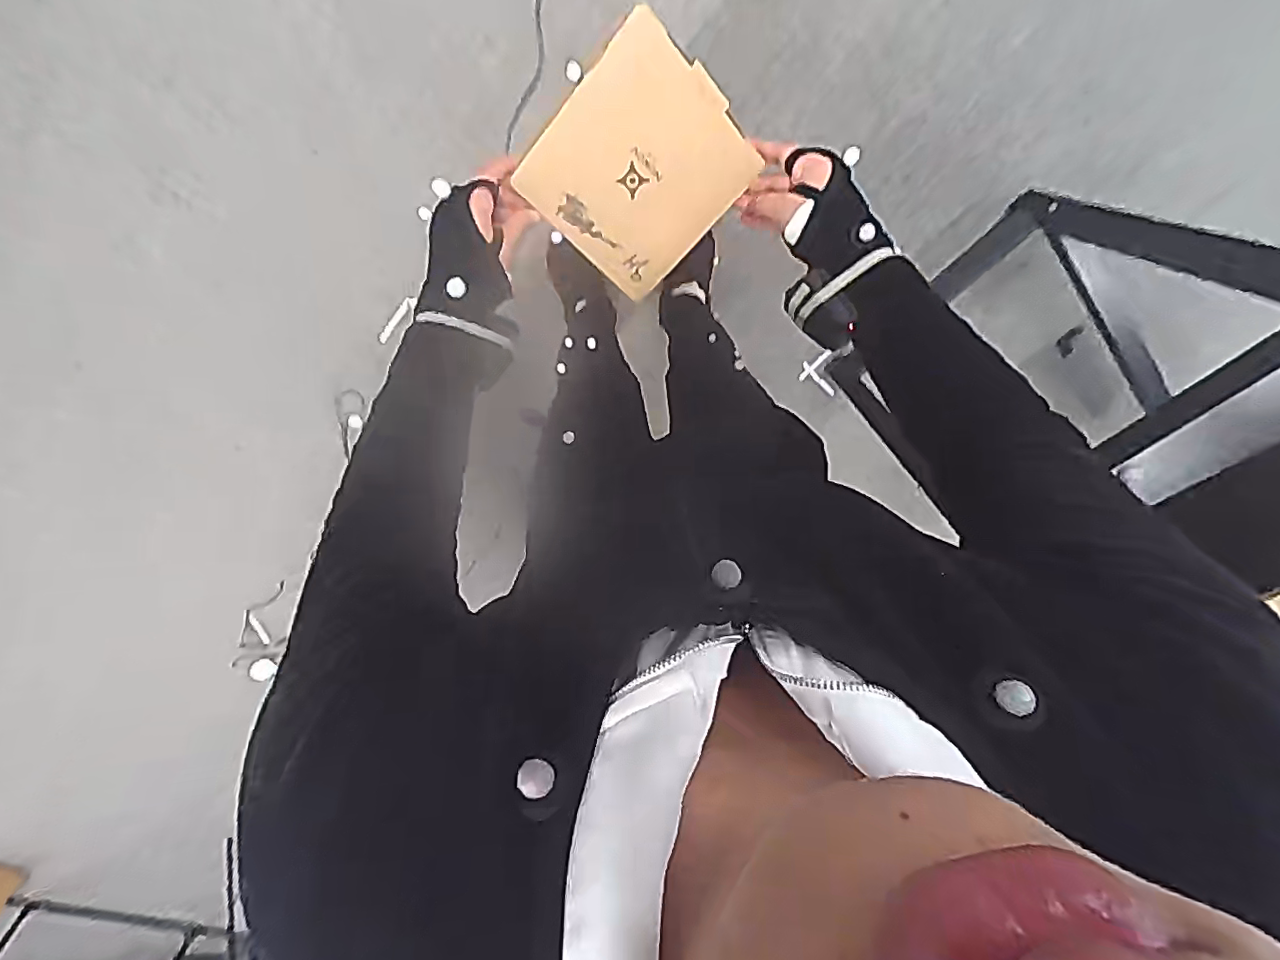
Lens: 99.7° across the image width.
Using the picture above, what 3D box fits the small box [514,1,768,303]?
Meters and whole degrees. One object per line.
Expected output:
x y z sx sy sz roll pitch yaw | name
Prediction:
-0.009 -0.321 0.546 0.168 0.176 0.179 36 113 -29 | small box
